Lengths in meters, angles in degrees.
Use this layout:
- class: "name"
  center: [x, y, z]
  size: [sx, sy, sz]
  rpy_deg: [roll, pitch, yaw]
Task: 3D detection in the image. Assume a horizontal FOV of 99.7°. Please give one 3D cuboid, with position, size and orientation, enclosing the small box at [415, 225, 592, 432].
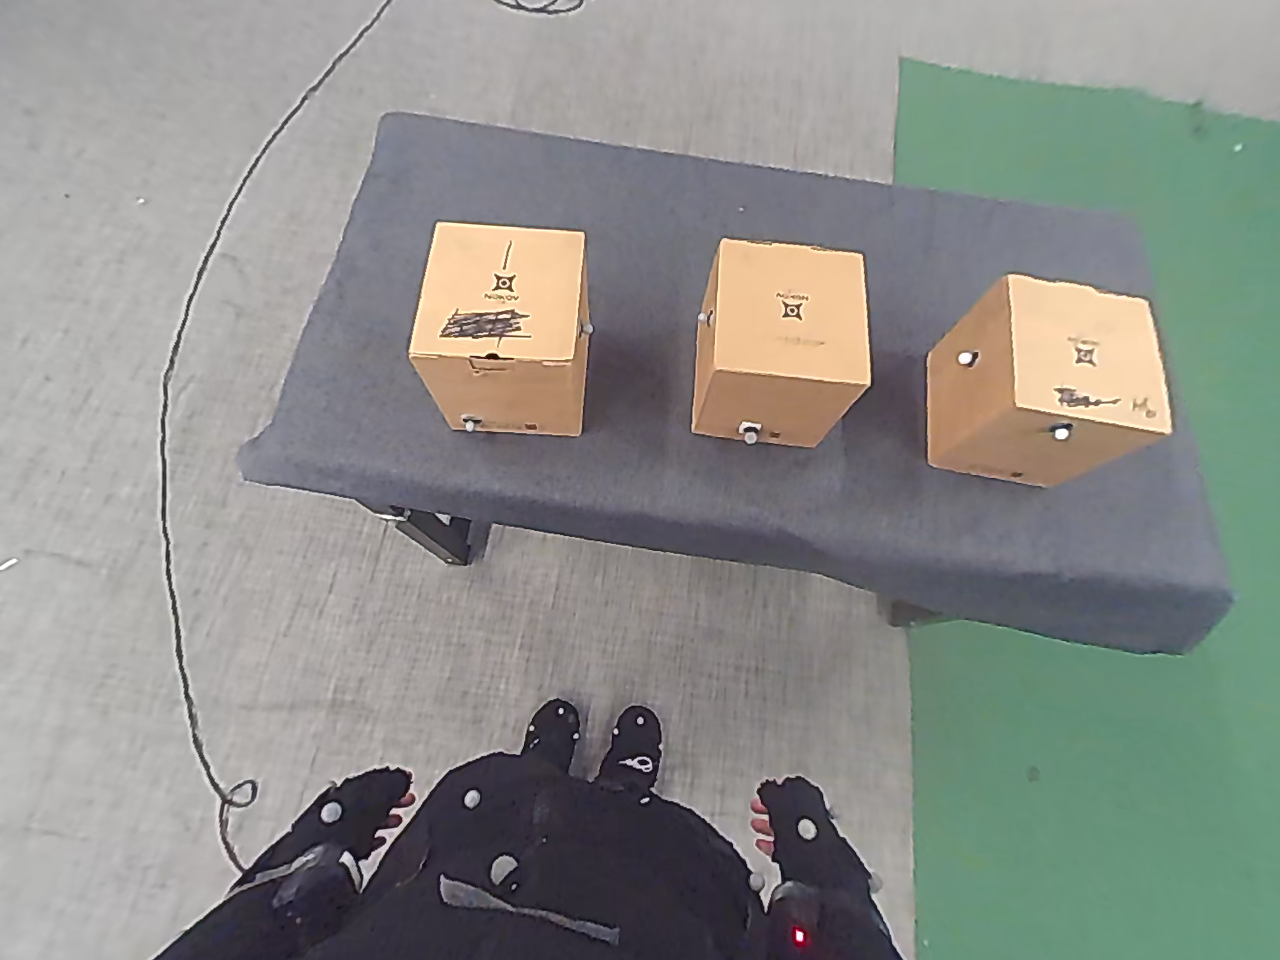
- class: "small box"
  center: [-0.147, -0.171, 0.649]
  size: [0.168, 0.176, 0.179]
  rpy_deg: [3, 68, -2]

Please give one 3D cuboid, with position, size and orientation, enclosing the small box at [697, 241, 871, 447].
- class: "small box"
  center: [0.163, -0.159, 0.665]
  size: [0.168, 0.176, 0.179]
  rpy_deg: [5, 71, 0]

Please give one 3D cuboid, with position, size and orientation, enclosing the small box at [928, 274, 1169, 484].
- class: "small box"
  center: [0.476, -0.115, 0.663]
  size: [0.168, 0.176, 0.179]
  rpy_deg: [10, 69, 2]
